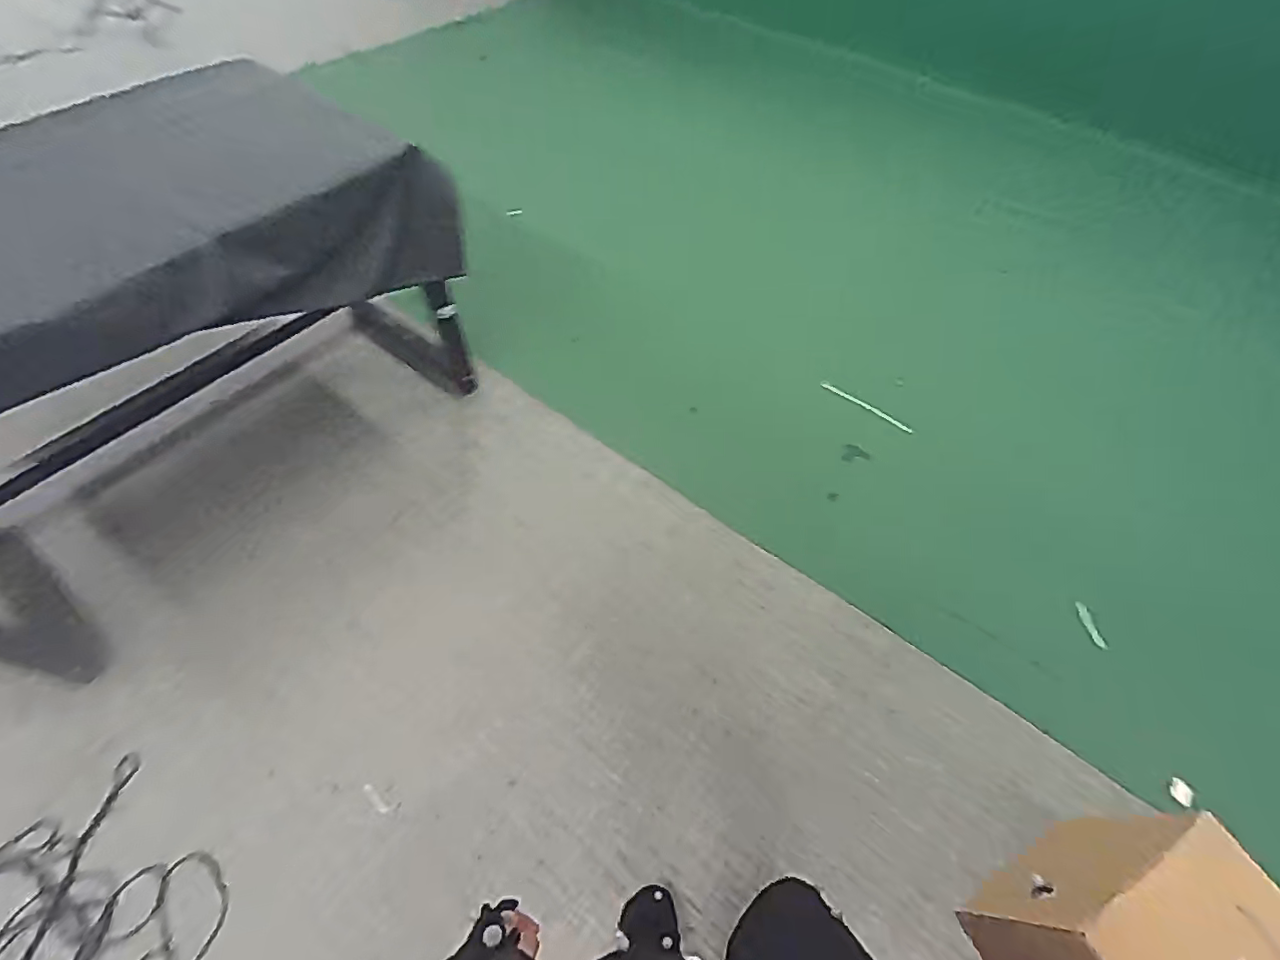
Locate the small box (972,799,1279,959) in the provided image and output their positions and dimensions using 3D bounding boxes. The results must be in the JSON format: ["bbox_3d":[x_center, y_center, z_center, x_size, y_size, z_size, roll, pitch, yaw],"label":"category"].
[{"bbox_3d":[0.427,0.406,0.457,0.179,0.176,0.168,-22,61,-21],"label":"small box"}]
